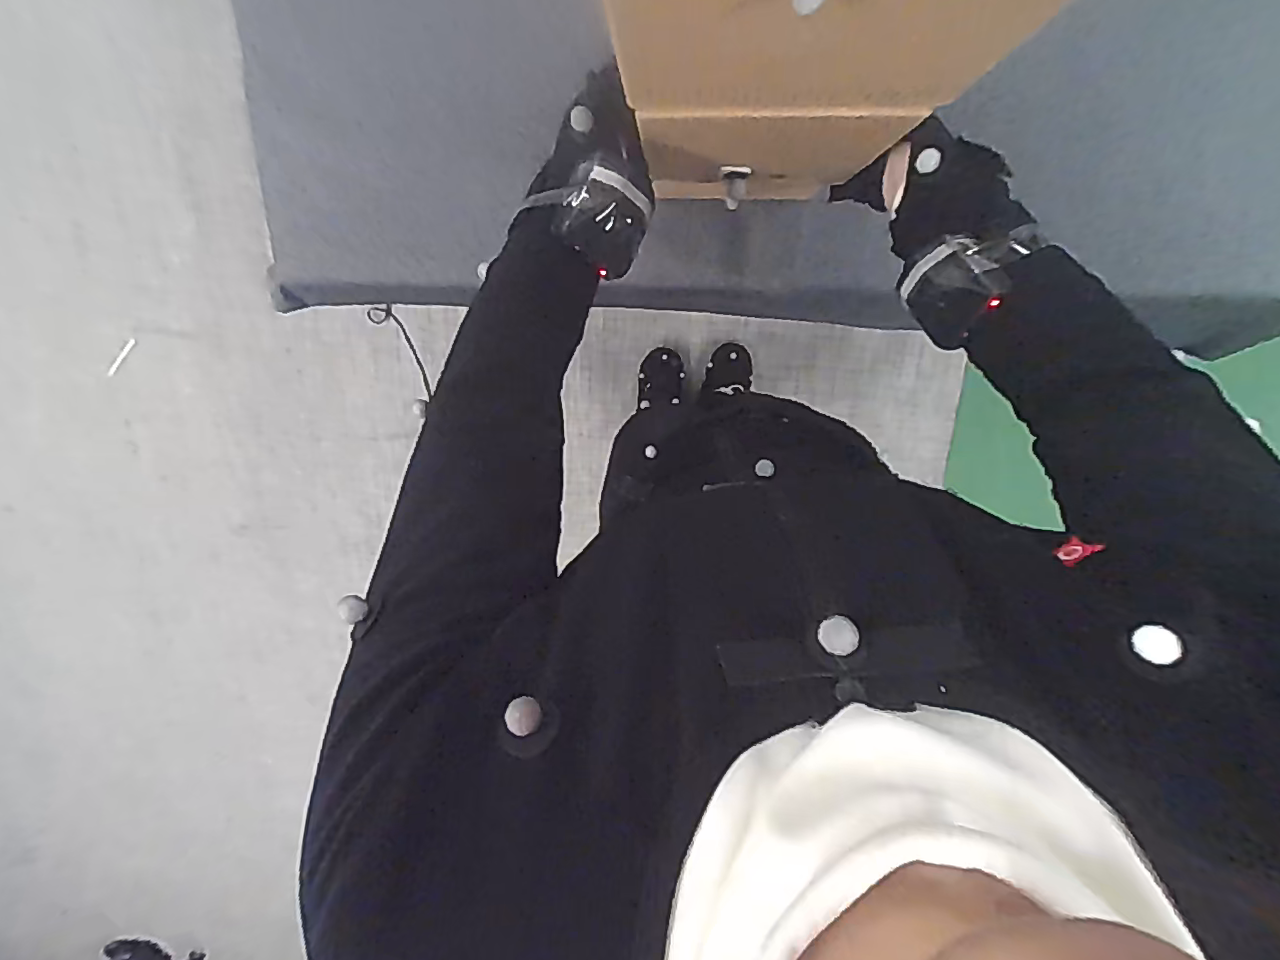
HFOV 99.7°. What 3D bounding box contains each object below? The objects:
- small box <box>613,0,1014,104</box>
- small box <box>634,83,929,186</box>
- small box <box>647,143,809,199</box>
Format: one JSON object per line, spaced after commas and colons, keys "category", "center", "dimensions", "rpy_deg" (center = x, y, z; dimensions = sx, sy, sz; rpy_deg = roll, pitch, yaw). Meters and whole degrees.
{"category": "small box", "center": [0.075, -0.271, 0.217], "dimensions": [0.179, 0.176, 0.168], "rpy_deg": [2, 107, 4]}
{"category": "small box", "center": [0.085, -0.313, 0.358], "dimensions": [0.168, 0.176, 0.179], "rpy_deg": [2, 107, 4]}
{"category": "small box", "center": [0.098, -0.375, 0.509], "dimensions": [0.179, 0.176, 0.168], "rpy_deg": [2, 105, 3]}
